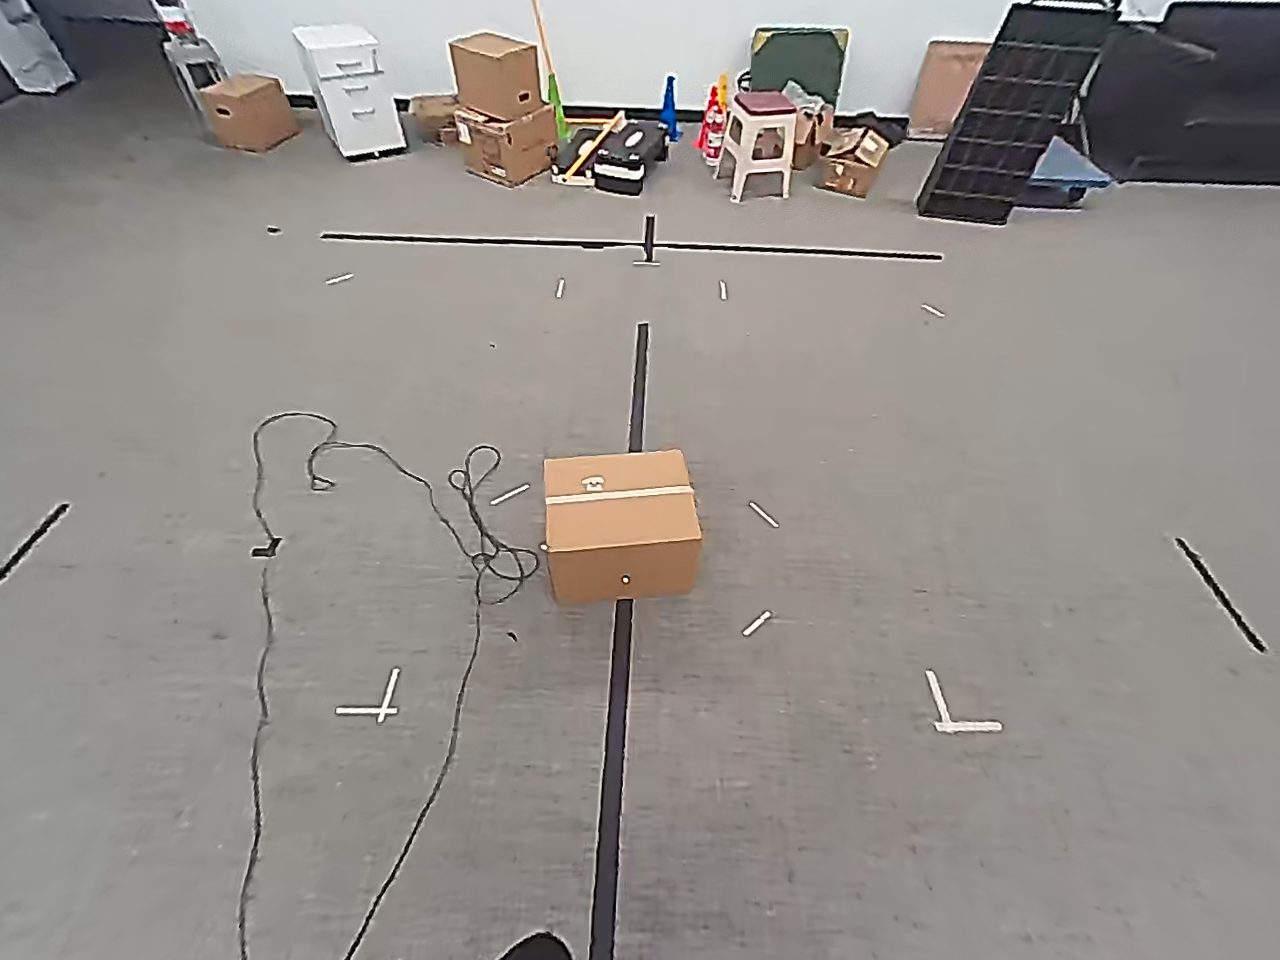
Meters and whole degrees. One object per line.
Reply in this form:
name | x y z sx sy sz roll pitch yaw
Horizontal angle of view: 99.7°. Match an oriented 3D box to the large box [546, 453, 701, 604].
large box | -0.056 0.147 1.600 0.408 0.320 0.320 -5 51 -5
